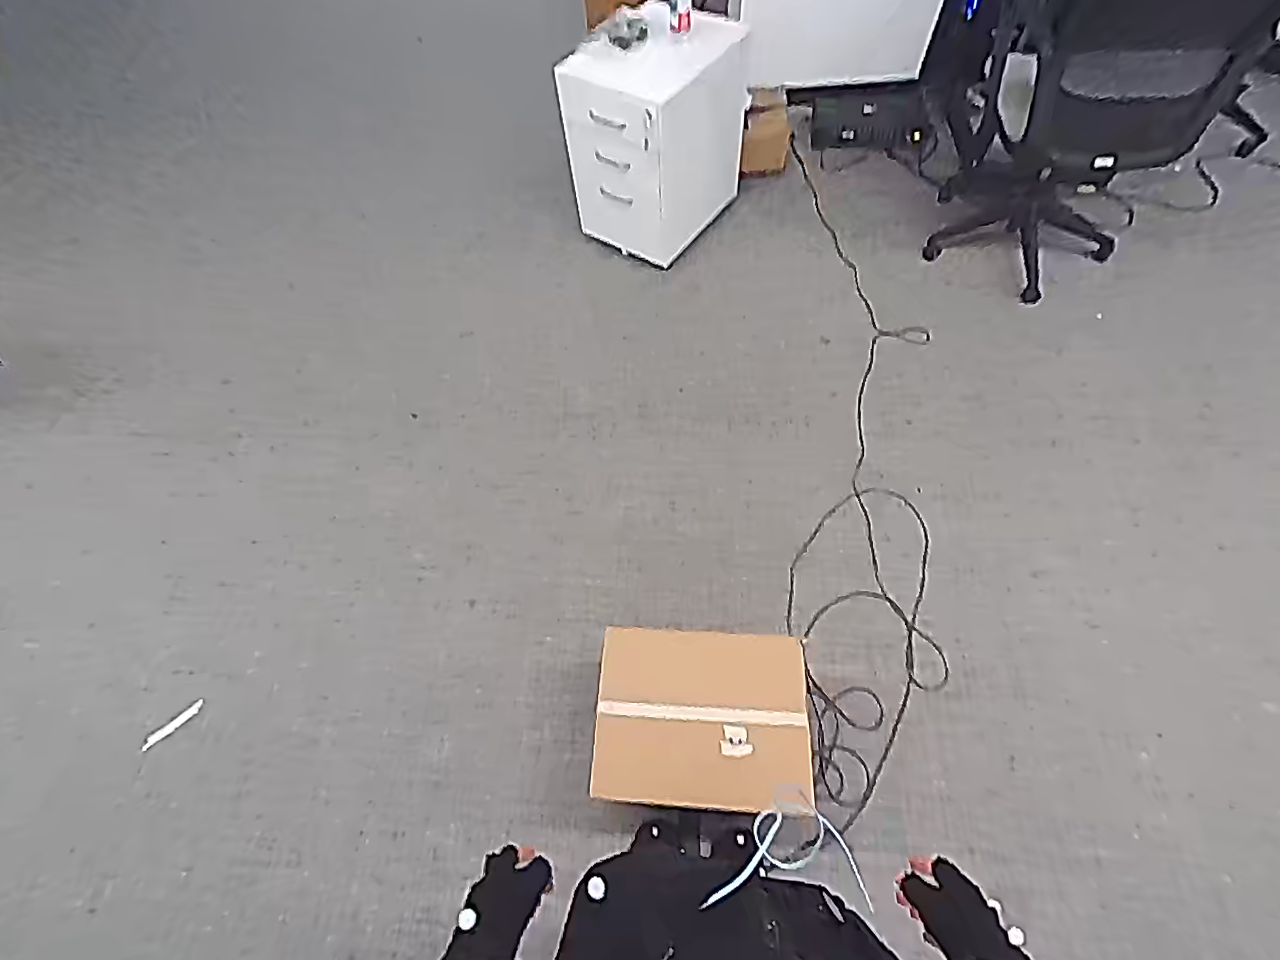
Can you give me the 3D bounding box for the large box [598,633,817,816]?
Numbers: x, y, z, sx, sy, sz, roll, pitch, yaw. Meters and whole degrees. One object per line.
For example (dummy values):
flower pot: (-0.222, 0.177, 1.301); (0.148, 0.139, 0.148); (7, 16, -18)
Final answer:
large box: (0.136, 0.534, 1.176); (0.408, 0.320, 0.320); (2, 61, 6)
